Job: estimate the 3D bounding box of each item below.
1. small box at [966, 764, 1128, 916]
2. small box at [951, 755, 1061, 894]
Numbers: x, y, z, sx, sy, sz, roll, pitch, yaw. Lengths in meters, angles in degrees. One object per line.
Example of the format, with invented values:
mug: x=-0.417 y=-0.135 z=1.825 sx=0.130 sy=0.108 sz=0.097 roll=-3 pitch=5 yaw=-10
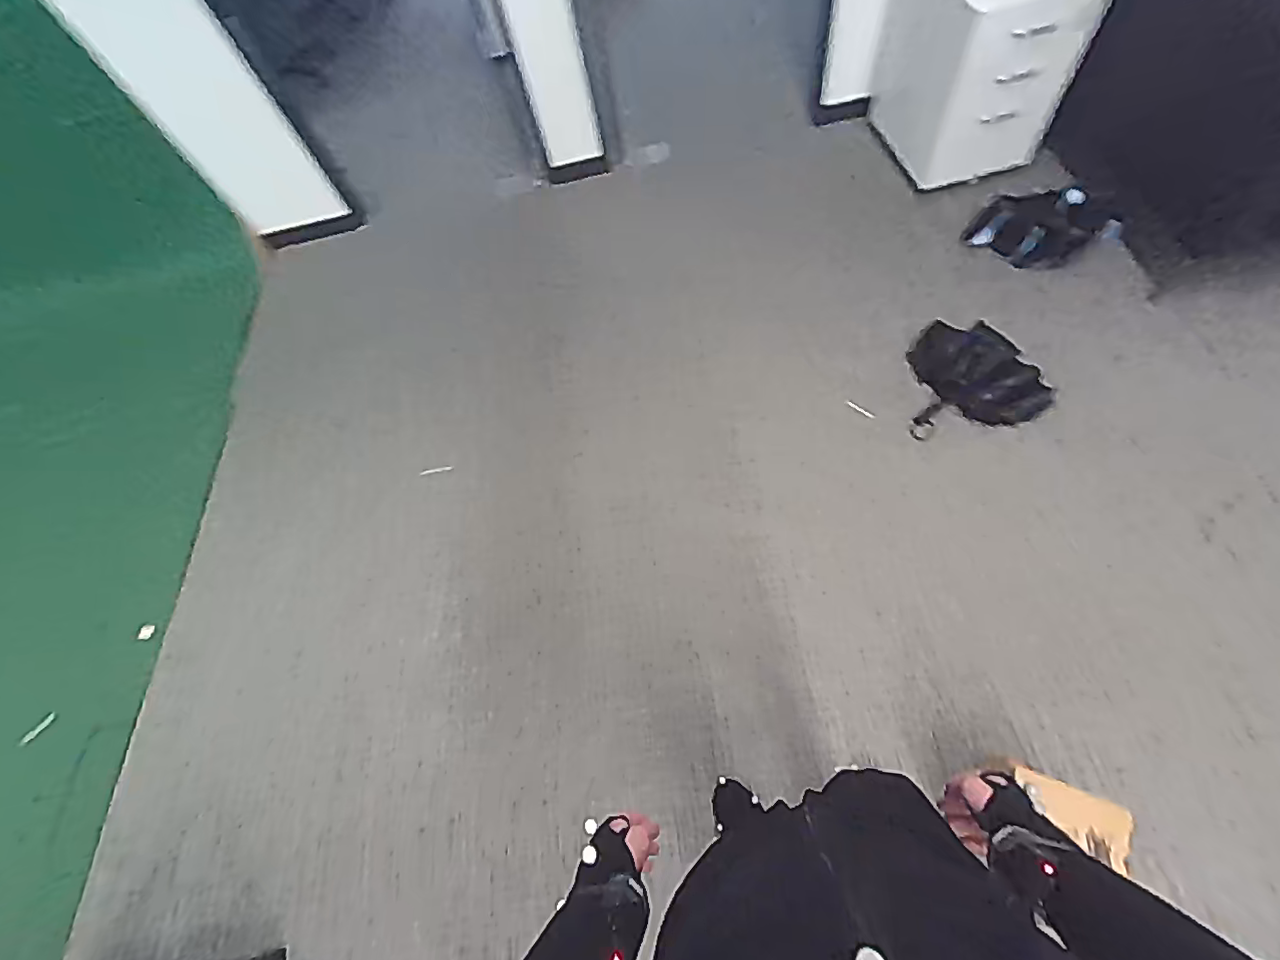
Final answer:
small box: x=0.730 y=0.638 z=0.985 sx=0.179 sy=0.176 sz=0.168 roll=18 pitch=67 yaw=20
small box: x=0.784 y=0.703 z=1.129 sx=0.168 sy=0.176 sz=0.179 roll=31 pitch=73 yaw=24
